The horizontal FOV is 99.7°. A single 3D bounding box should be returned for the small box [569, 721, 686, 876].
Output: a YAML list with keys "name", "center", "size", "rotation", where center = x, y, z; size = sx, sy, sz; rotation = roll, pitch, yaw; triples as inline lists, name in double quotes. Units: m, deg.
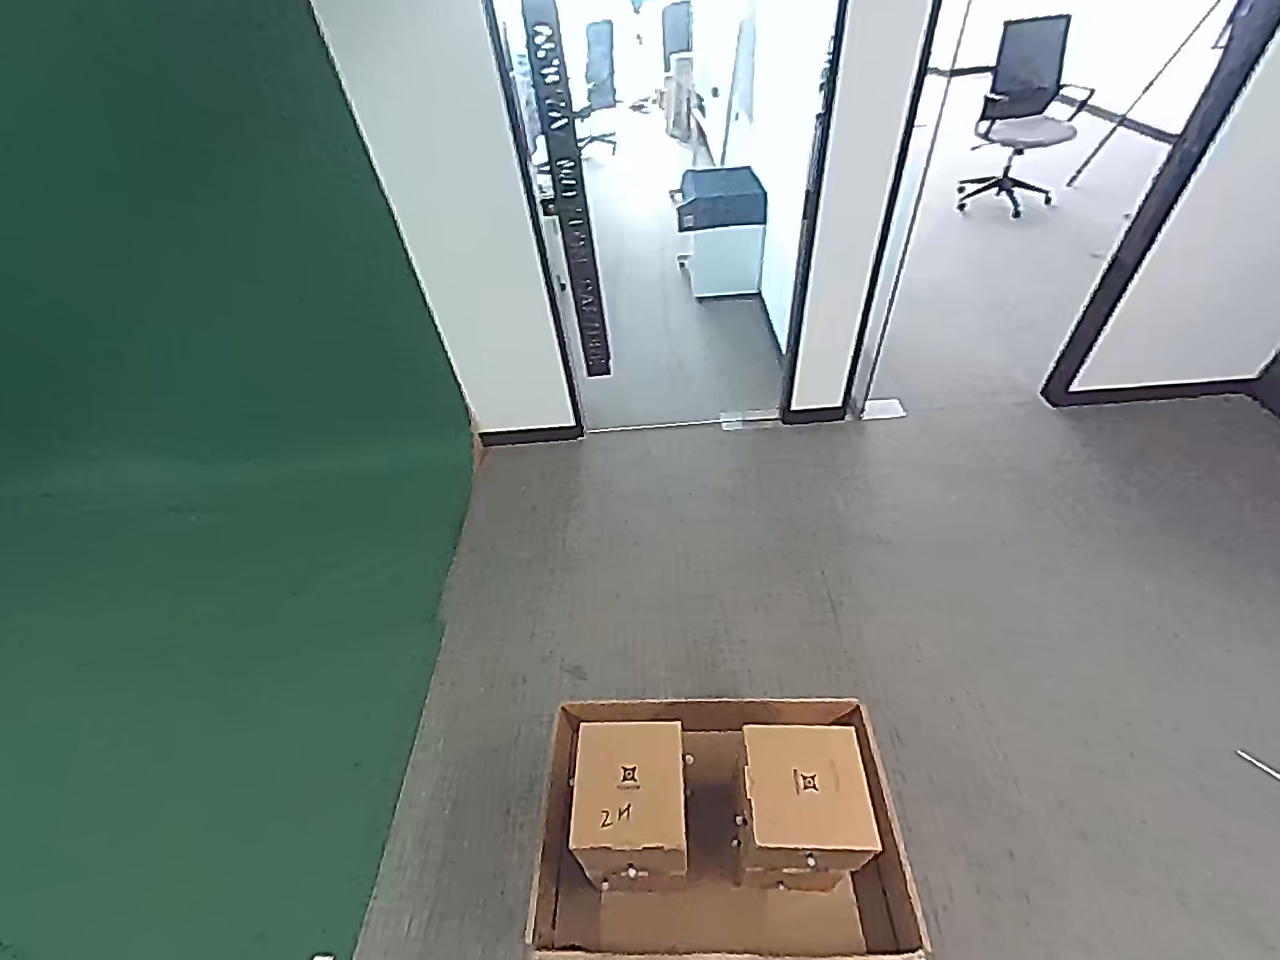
- name: "small box"
  center: [-0.012, 0.507, 0.864]
  size: [0.168, 0.176, 0.179]
  rotation: [-2, 45, 4]

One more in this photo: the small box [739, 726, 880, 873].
- name: "small box"
  center: [0.250, 0.502, 0.849]
  size: [0.179, 0.176, 0.168]
  rotation: [0, 47, 4]
